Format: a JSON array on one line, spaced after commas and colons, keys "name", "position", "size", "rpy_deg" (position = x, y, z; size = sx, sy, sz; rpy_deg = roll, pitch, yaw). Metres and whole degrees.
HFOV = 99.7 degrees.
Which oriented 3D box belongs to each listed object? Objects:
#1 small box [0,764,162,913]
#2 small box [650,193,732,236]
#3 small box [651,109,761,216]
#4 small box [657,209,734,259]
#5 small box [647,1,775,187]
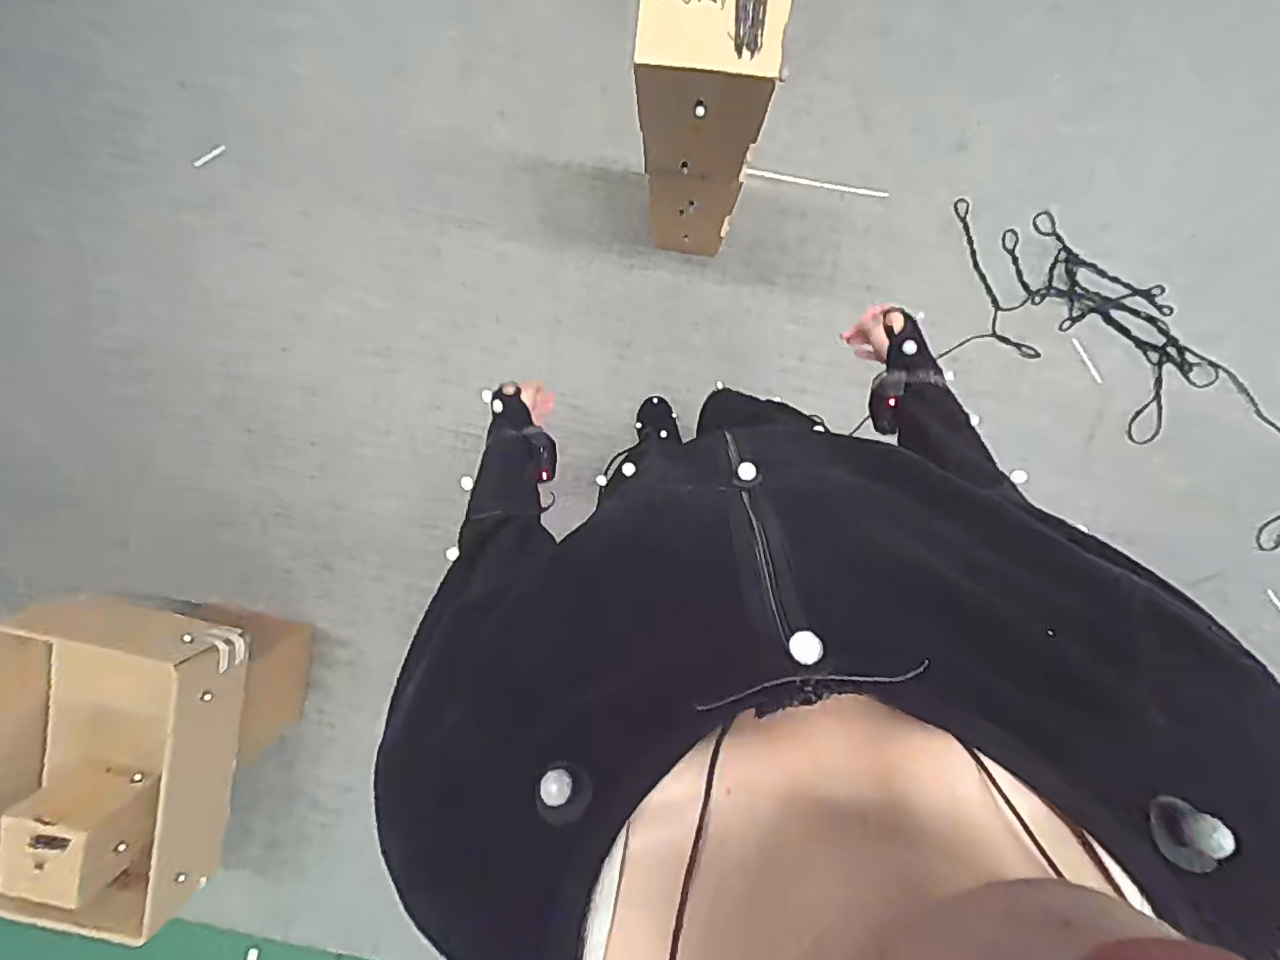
[{"name": "small box", "position": [-1.141, 0.724, 1.111], "size": [0.168, 0.176, 0.179], "rpy_deg": [14, 96, 0]}, {"name": "small box", "position": [0.124, -0.654, 1.185], "size": [0.179, 0.176, 0.168], "rpy_deg": [10, 97, 1]}, {"name": "small box", "position": [0.119, -0.621, 1.024], "size": [0.179, 0.176, 0.168], "rpy_deg": [8, 97, 1]}, {"name": "small box", "position": [0.142, -0.668, 1.347], "size": [0.179, 0.176, 0.168], "rpy_deg": [10, 96, 1]}, {"name": "small box", "position": [0.105, -0.601, 0.863], "size": [0.168, 0.176, 0.179], "rpy_deg": [8, 98, 2]}]
